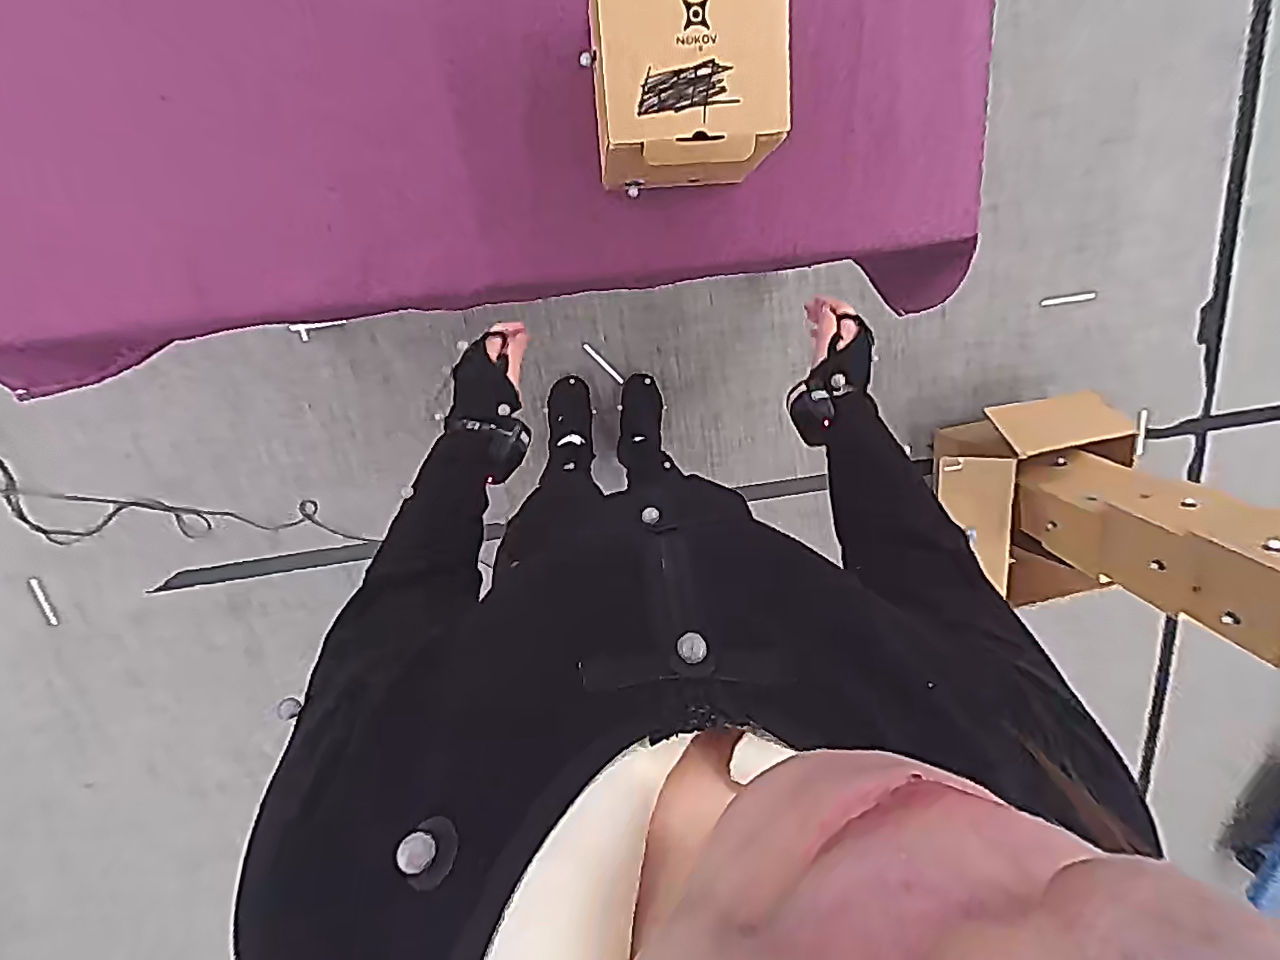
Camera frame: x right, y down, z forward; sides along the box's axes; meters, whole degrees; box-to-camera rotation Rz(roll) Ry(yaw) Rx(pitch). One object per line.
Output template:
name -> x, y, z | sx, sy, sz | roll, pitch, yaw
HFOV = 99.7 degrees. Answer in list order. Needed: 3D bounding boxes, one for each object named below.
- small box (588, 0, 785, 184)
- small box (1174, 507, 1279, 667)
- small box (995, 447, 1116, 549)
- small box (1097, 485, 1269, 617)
small box -> 0.037, -0.407, 0.535 | 0.168, 0.176, 0.179 | -6, 106, -4
small box -> 1.015, 0.162, 0.858 | 0.179, 0.176, 0.168 | -14, 111, 2
small box -> 1.020, 0.034, 1.336 | 0.168, 0.176, 0.179 | -28, 110, 7
small box -> 1.011, 0.123, 1.017 | 0.168, 0.176, 0.179 | -15, 111, 3
